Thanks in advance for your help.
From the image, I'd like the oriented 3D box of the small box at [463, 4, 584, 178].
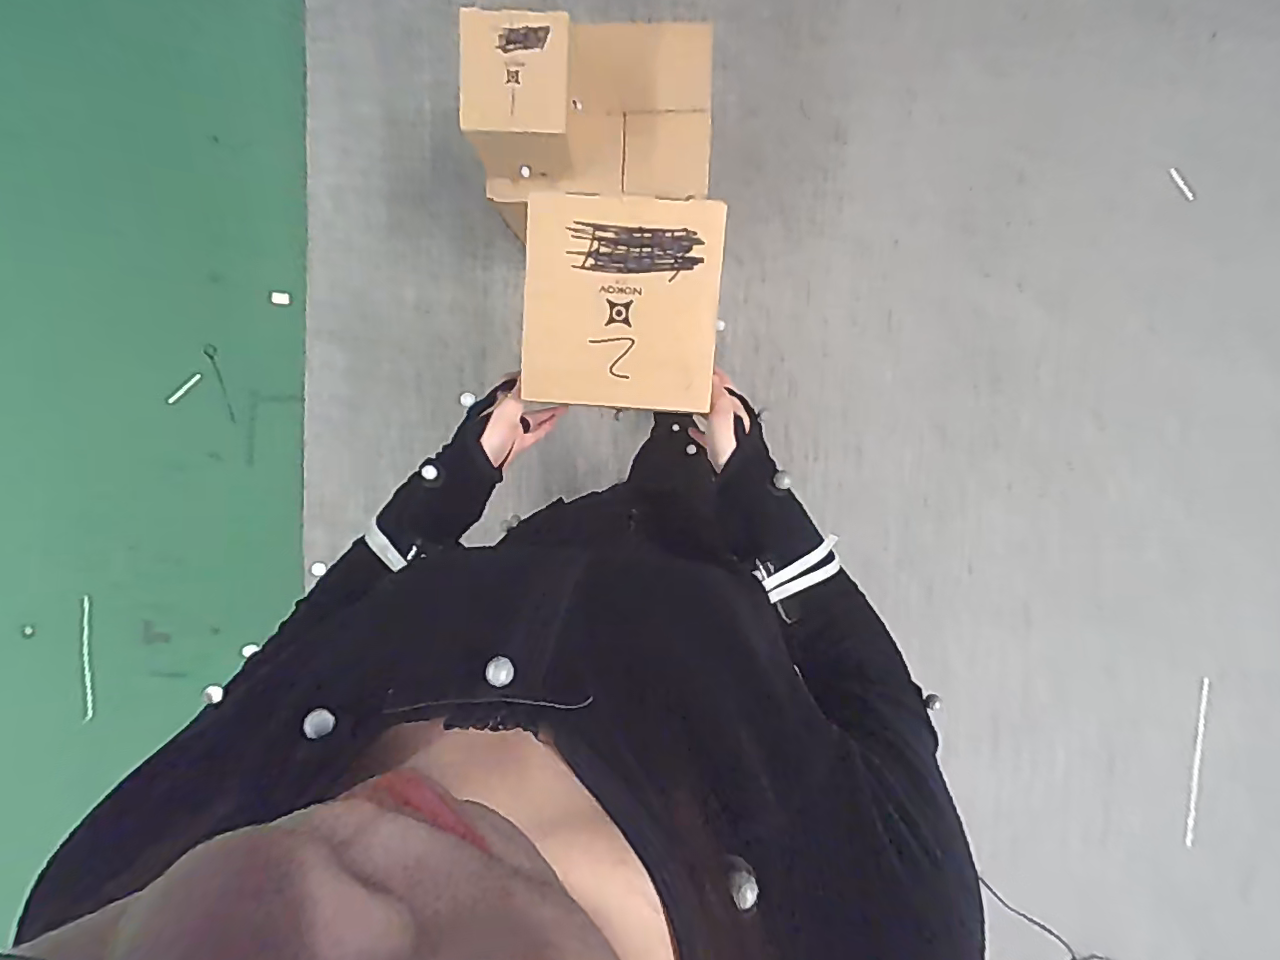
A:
[{"bbox_3d":[-0.187,-0.637,0.903,0.168,0.176,0.179,3,98,1],"label":"small box"}]
